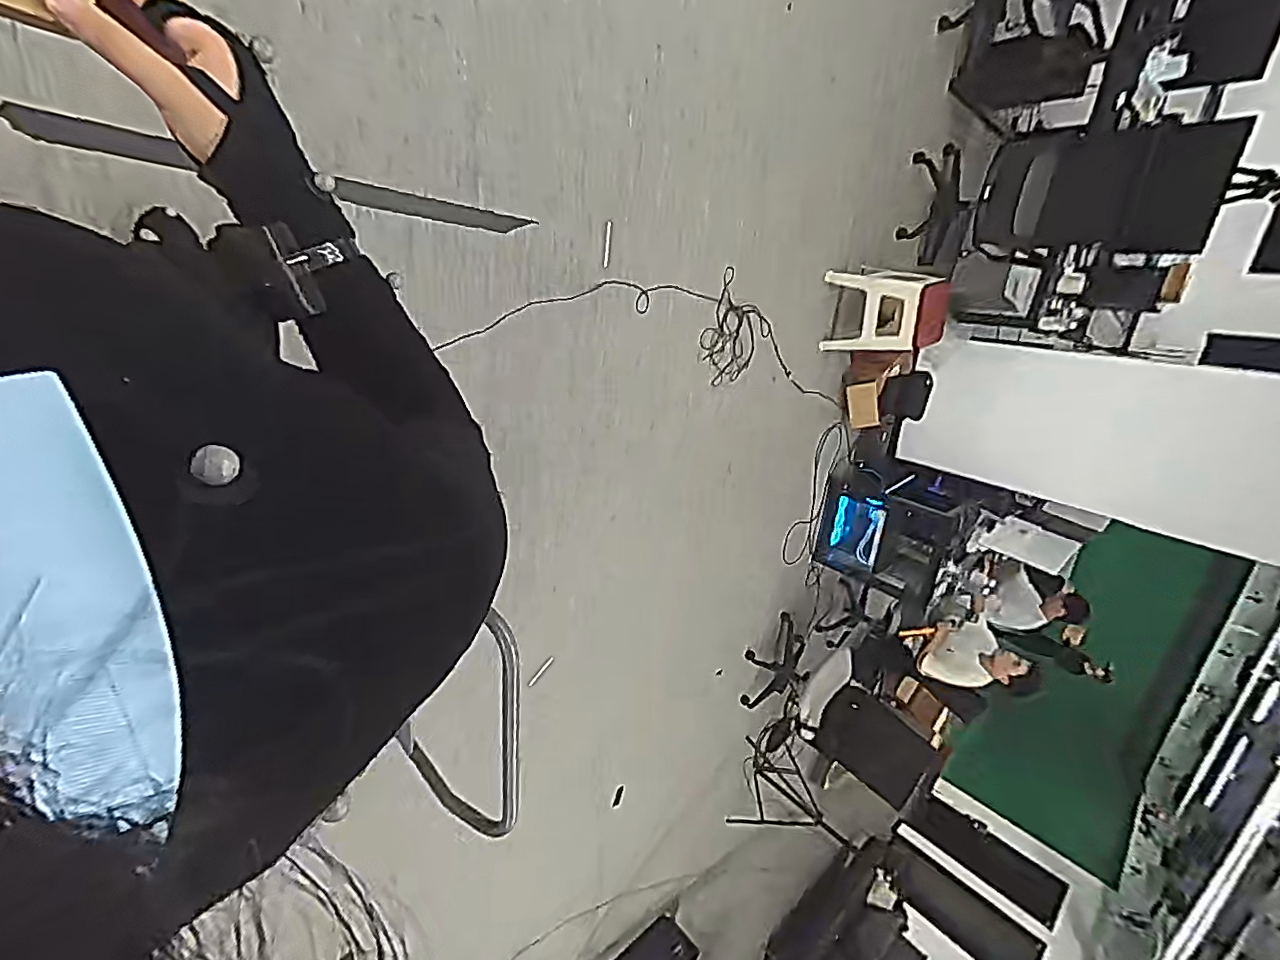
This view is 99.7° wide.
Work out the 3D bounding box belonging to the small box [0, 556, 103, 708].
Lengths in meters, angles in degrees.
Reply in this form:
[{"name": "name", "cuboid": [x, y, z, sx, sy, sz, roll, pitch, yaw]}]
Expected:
[{"name": "small box", "cuboid": [-1.040, 0.254, 0.914, 0.168, 0.176, 0.179, -12, 116, -41]}]
